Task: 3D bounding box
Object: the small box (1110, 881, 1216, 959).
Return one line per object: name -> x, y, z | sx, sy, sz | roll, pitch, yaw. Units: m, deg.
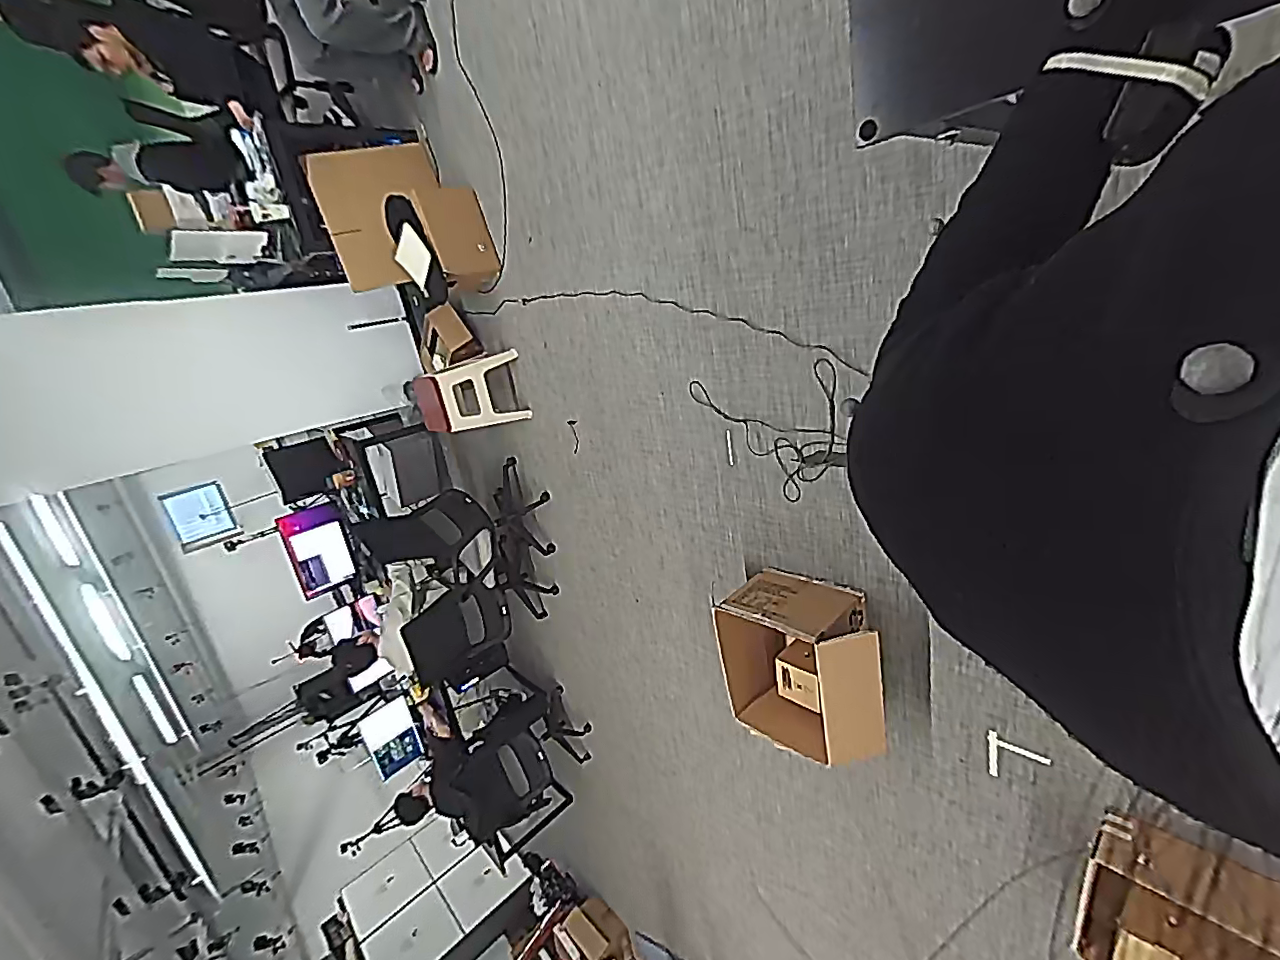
small box -> 1.315, 1.175, 1.362 | 0.168, 0.176, 0.179 | 15, 119, 44
